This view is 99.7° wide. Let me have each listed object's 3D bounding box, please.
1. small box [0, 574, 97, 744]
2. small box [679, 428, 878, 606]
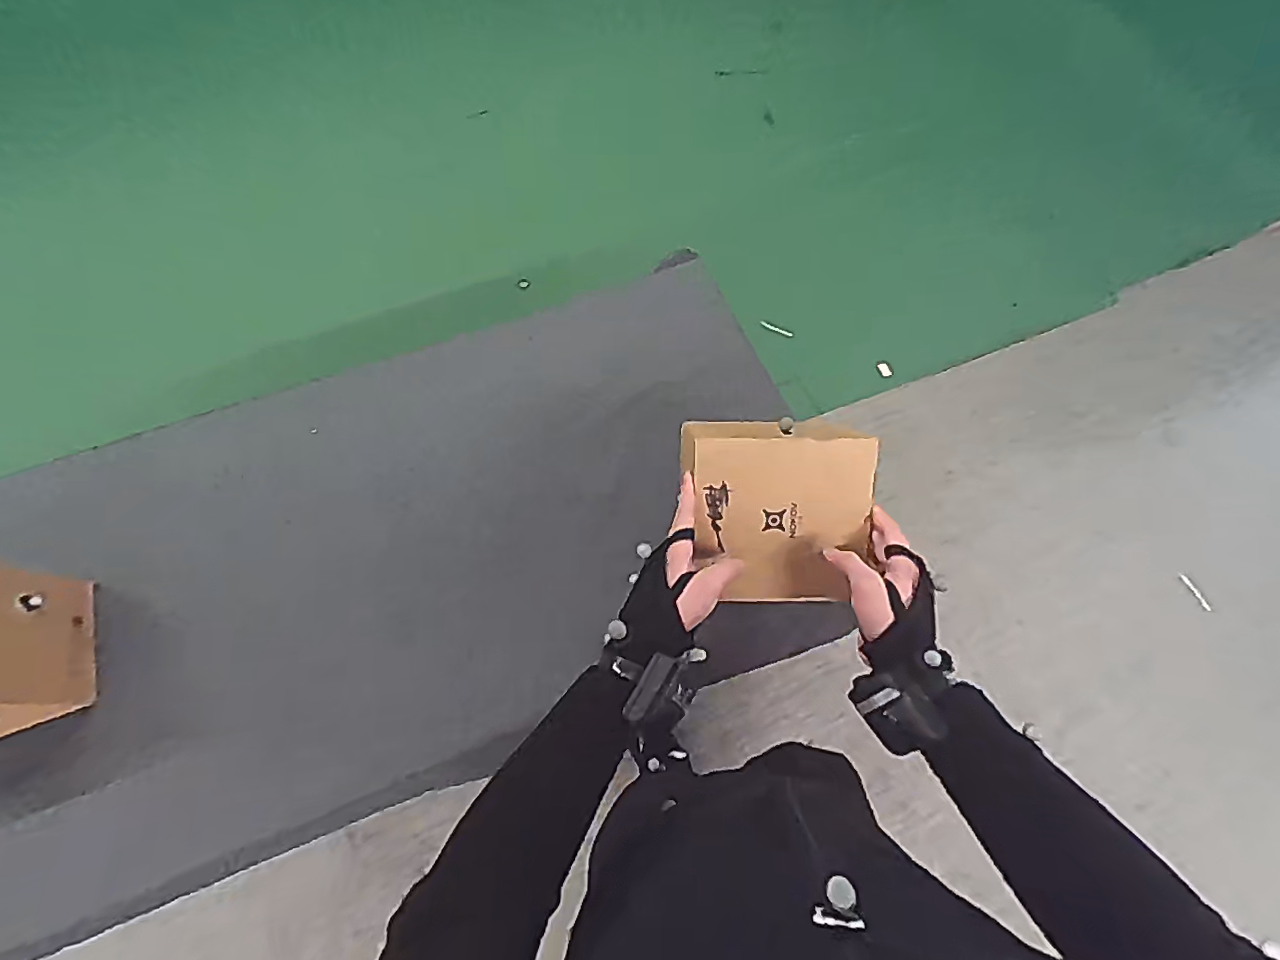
[{"bbox_3d":[-0.783,0.212,0.616,0.179,0.176,0.168,-17,67,-8],"label":"small box"},{"bbox_3d":[0.141,0.031,0.613,0.179,0.176,0.168,0,101,0],"label":"small box"}]
